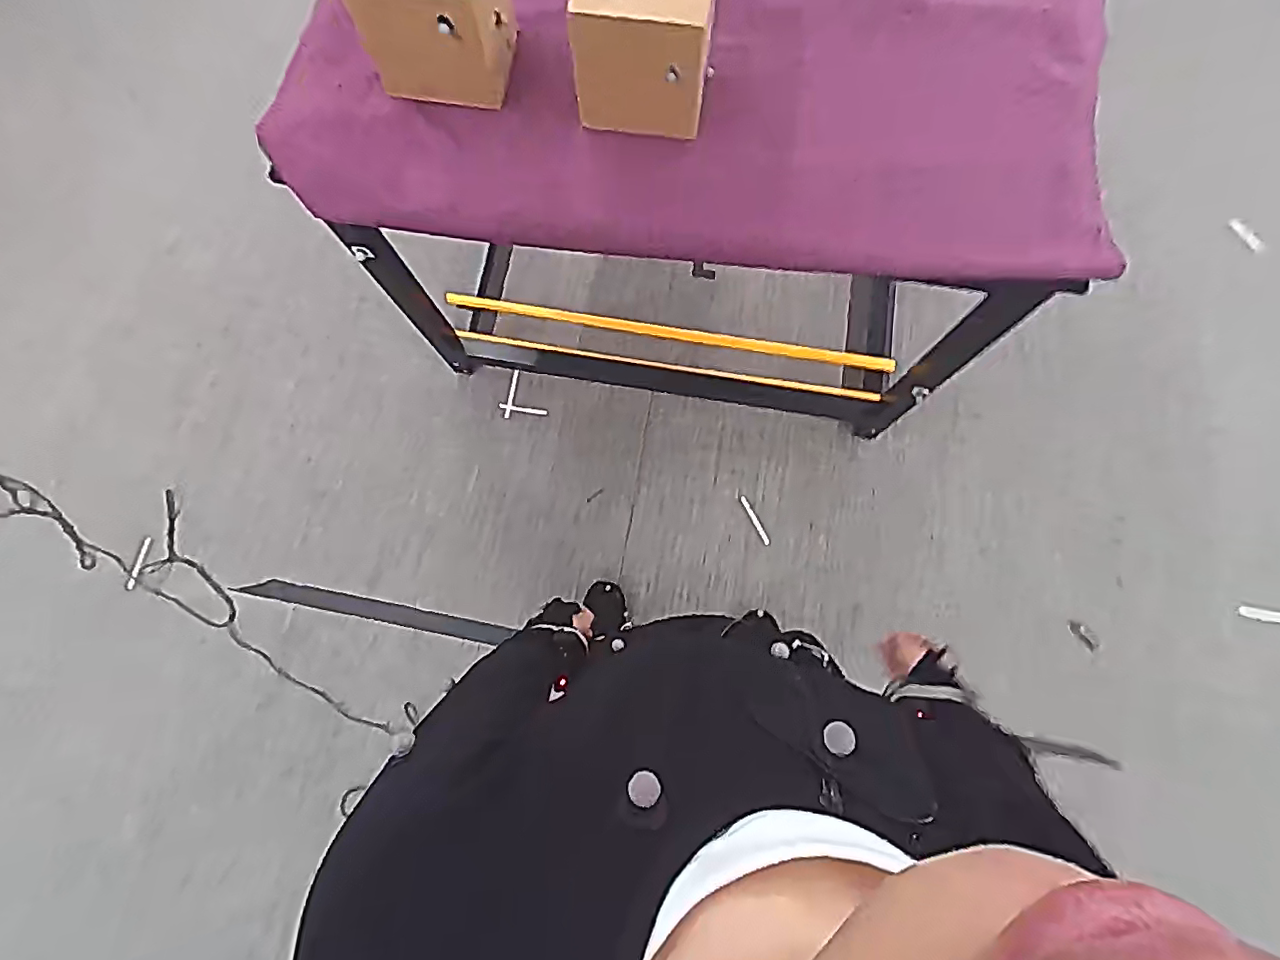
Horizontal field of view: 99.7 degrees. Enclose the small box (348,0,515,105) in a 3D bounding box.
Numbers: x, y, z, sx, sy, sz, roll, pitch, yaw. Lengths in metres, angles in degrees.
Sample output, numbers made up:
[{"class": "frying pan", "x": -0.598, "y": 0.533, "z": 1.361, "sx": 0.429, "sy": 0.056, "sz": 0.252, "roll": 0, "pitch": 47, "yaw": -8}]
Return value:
[{"class": "small box", "x": -0.290, "y": -0.684, "z": 0.780, "sx": 0.179, "sy": 0.176, "sz": 0.168, "roll": 7, "pitch": 77, "yaw": 0}]
